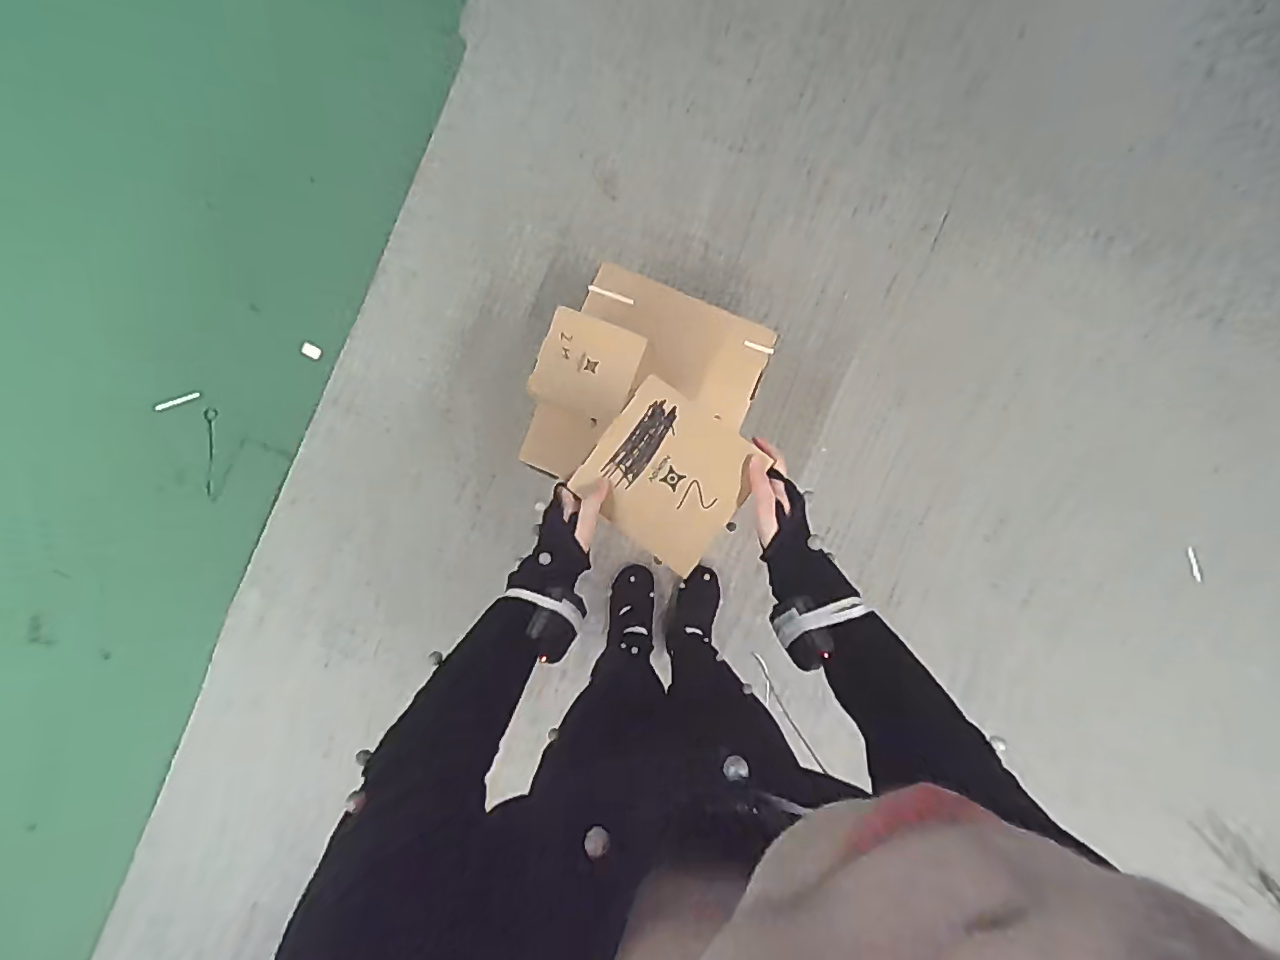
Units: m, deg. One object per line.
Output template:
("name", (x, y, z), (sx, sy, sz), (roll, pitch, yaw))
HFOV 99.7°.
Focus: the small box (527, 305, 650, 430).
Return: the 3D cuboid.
("small box", (-0.092, -0.203, 1.036), (0.179, 0.176, 0.168), (21, 88, 1))
